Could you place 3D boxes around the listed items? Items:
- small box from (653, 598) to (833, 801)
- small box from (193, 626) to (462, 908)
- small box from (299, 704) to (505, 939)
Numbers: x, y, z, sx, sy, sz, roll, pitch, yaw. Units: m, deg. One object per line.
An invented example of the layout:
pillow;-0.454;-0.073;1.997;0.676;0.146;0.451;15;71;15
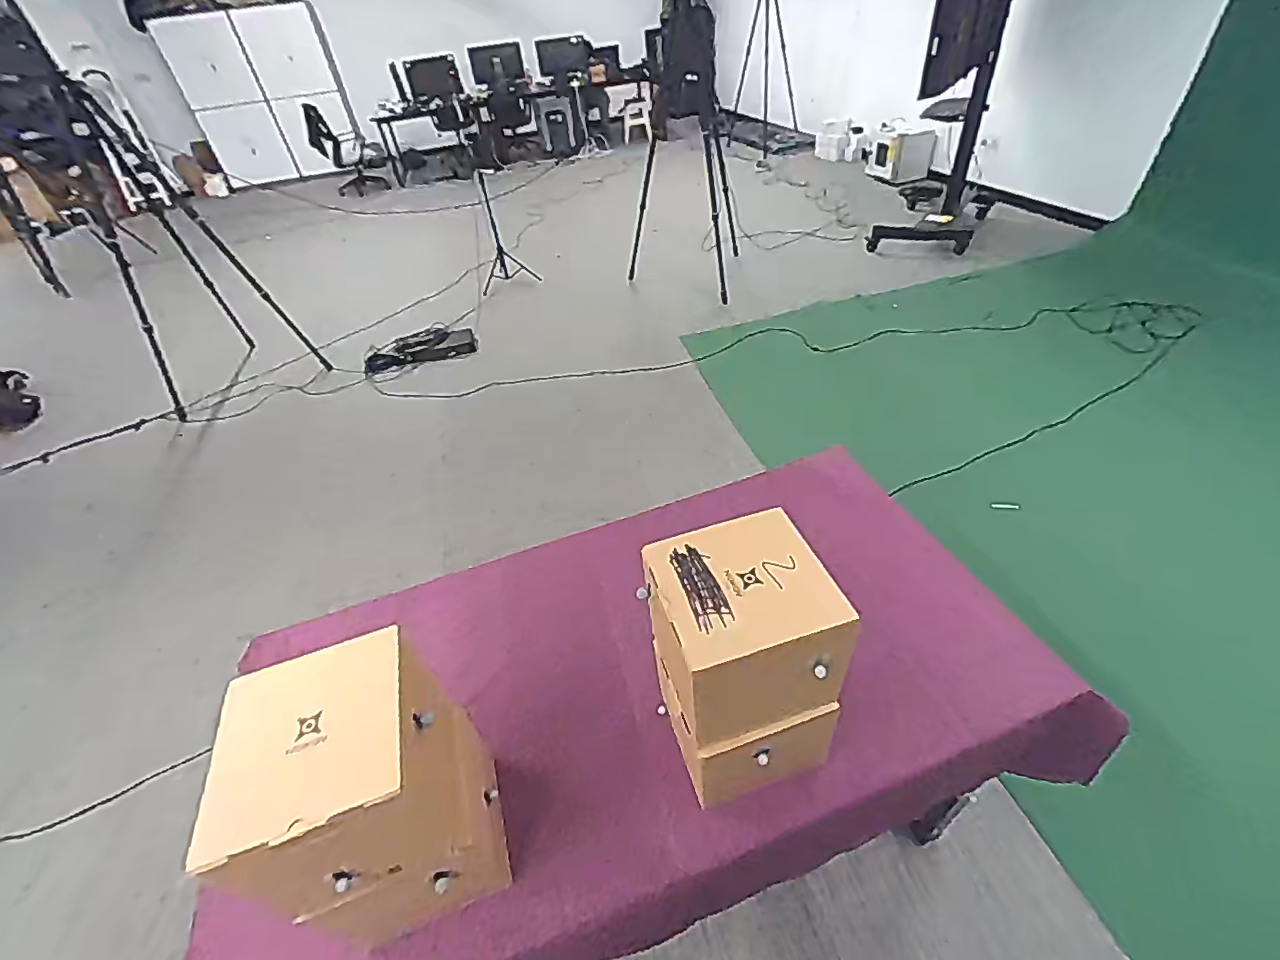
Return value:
small box;0.130;0.293;0.721;0.179;0.176;0.168;-16;42;-9
small box;-0.293;0.288;0.549;0.168;0.176;0.179;-18;44;-11
small box;-0.272;0.411;0.655;0.179;0.176;0.168;-17;42;-11
